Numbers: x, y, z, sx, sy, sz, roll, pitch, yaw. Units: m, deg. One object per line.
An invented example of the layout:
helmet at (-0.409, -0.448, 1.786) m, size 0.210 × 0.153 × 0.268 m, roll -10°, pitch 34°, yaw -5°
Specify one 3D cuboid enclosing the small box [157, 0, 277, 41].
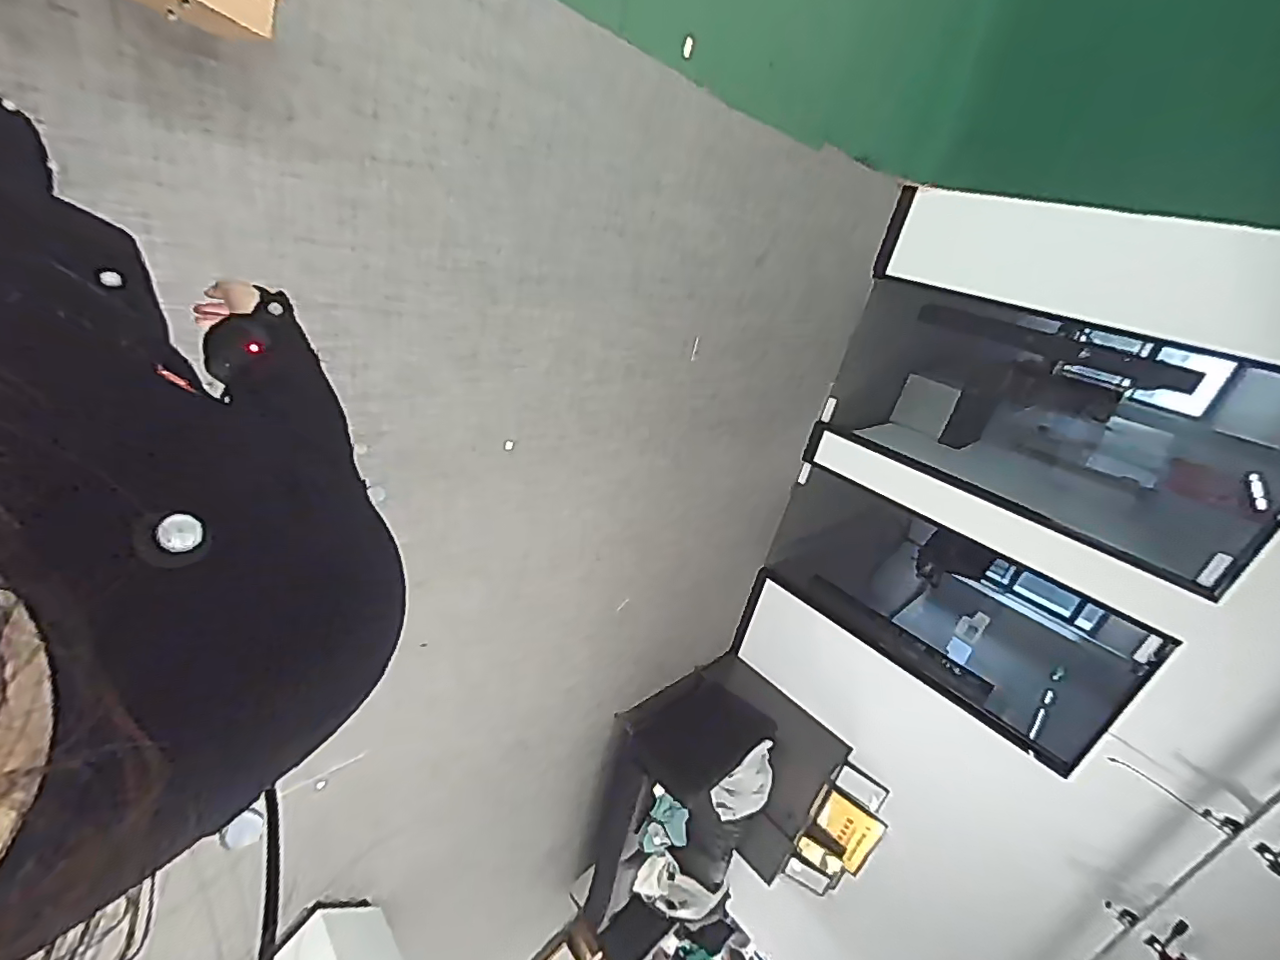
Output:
small box at (-0.642, -0.772, 0.781) m, size 0.179 × 0.176 × 0.168 m, roll 2°, pitch 116°, yaw -49°
